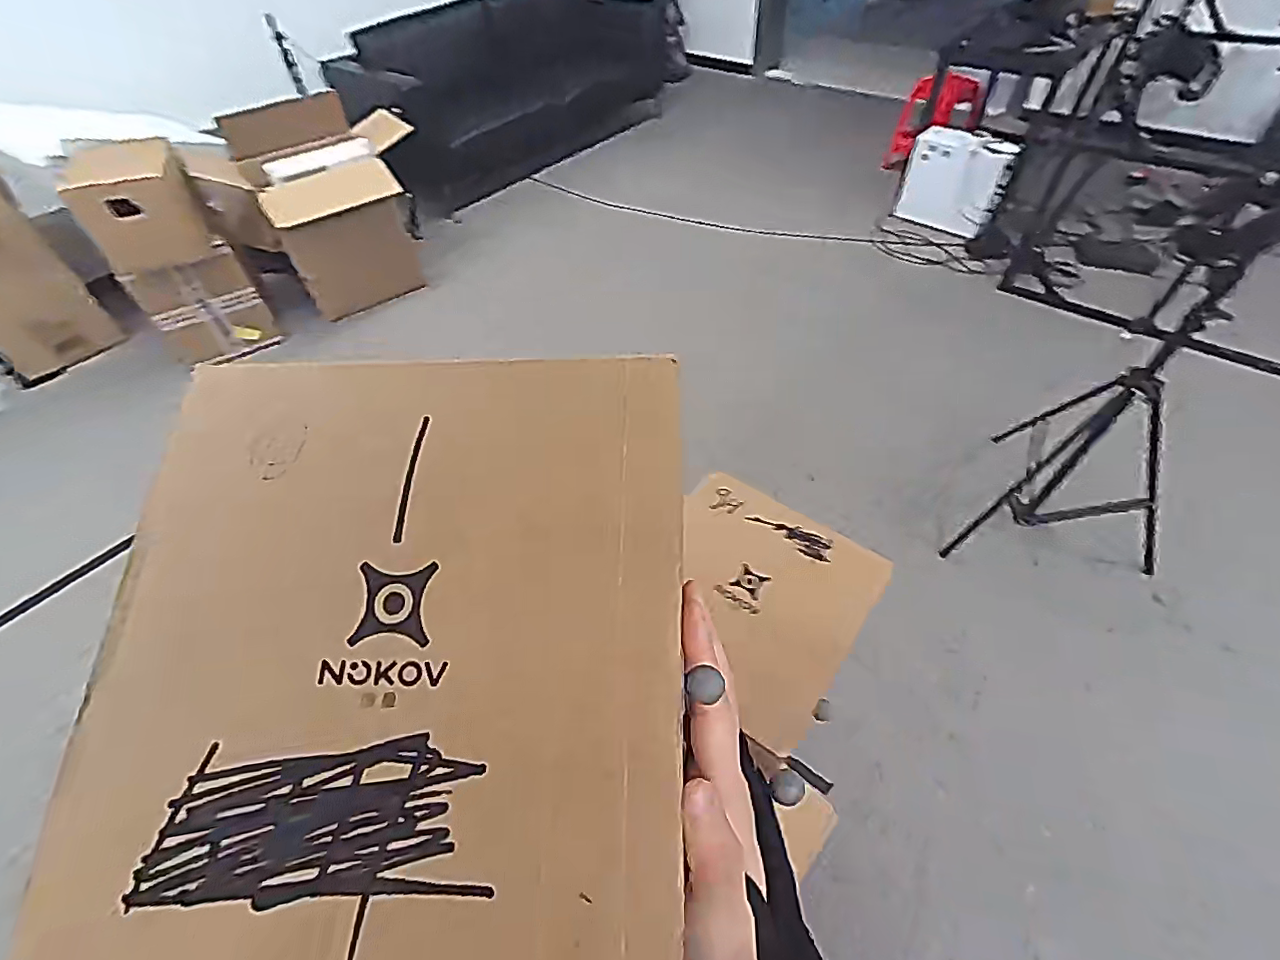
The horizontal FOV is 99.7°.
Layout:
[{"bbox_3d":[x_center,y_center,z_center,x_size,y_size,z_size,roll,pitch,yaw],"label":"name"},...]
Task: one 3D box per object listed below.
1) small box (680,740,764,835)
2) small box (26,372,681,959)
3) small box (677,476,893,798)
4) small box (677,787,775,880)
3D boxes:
[{"bbox_3d":[0.088,0.244,0.589,0.168,0.176,0.179,30,59,26],"label":"small box"},{"bbox_3d":[-0.067,0.074,0.230,0.168,0.176,0.179,-1,70,4],"label":"small box"},{"bbox_3d":[0.083,0.136,0.465,0.168,0.176,0.179,30,59,25],"label":"small box"},{"bbox_3d":[0.111,0.571,0.955,0.179,0.176,0.168,32,60,25],"label":"small box"}]
